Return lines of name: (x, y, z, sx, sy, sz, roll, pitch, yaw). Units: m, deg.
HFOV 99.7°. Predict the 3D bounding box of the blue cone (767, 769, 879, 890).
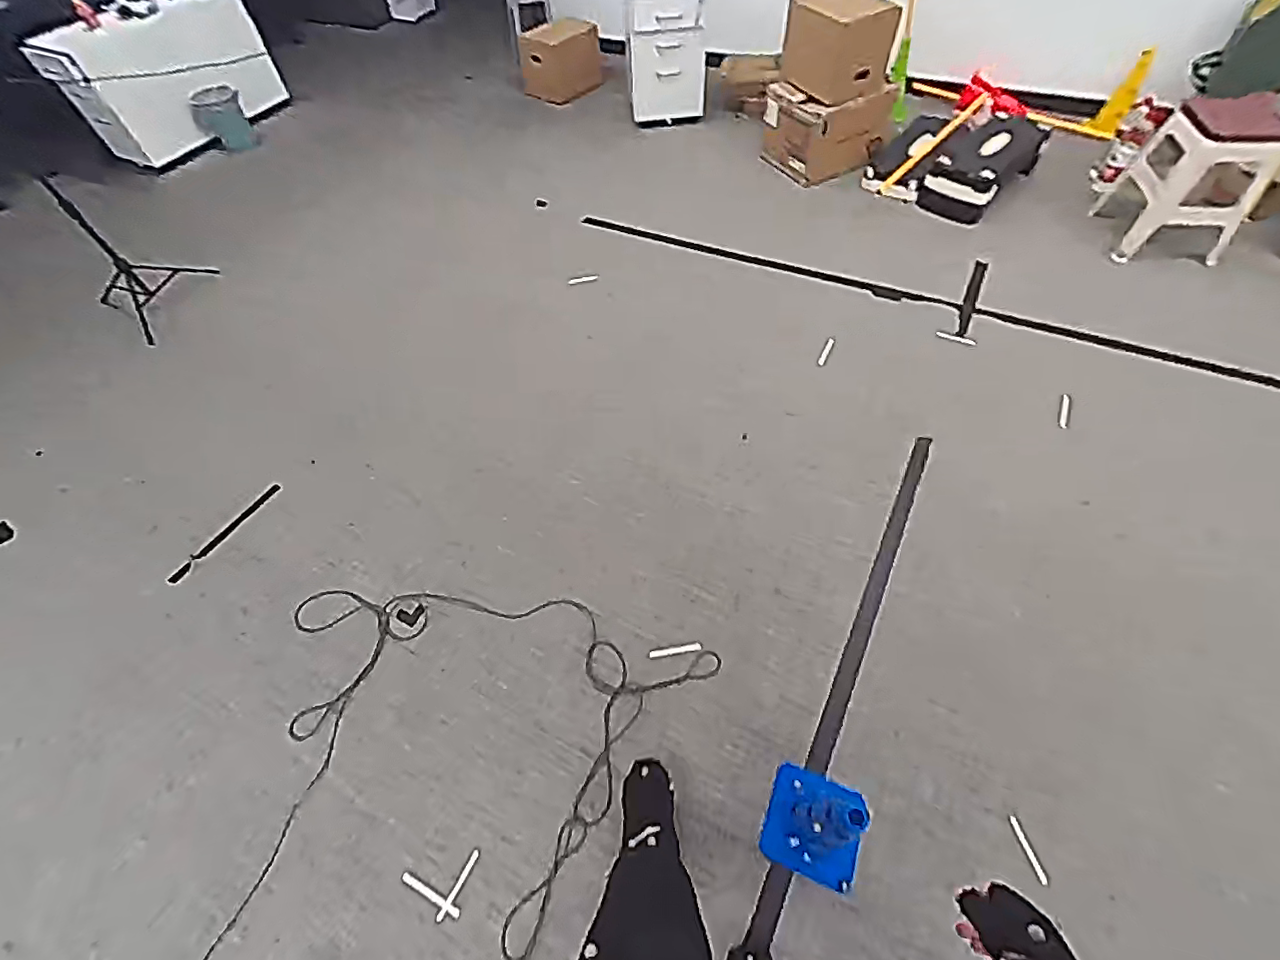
blue cone: (0.380, 0.674, 1.061, 0.192, 0.380, 0.193, 20, 59, 15)
